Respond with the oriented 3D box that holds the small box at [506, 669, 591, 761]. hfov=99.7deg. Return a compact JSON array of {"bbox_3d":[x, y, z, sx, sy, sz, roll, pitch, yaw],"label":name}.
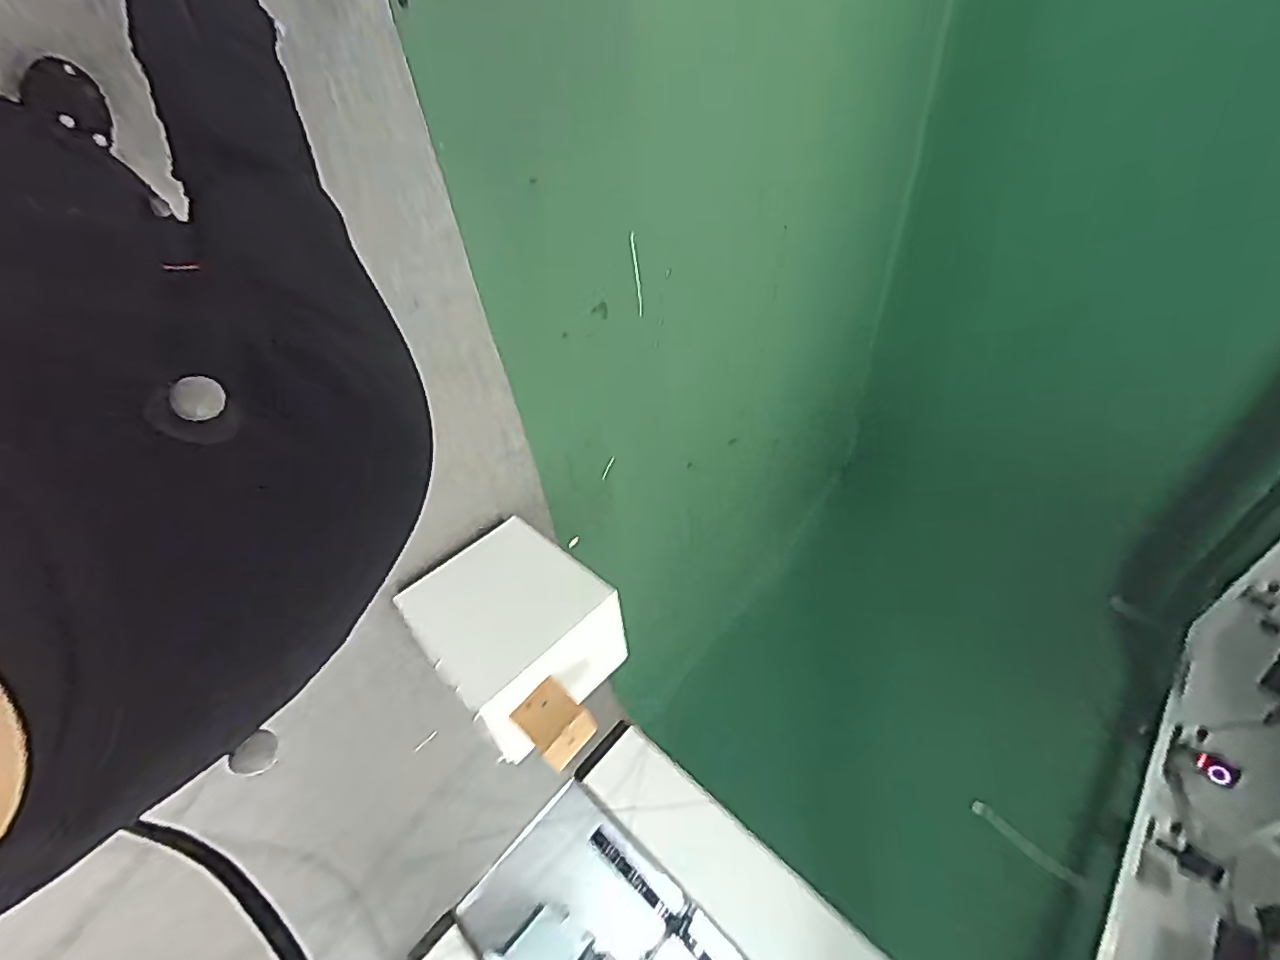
[{"bbox_3d":[-0.278,0.712,1.653,0.168,0.176,0.179,-42,143,-26],"label":"small box"}]
